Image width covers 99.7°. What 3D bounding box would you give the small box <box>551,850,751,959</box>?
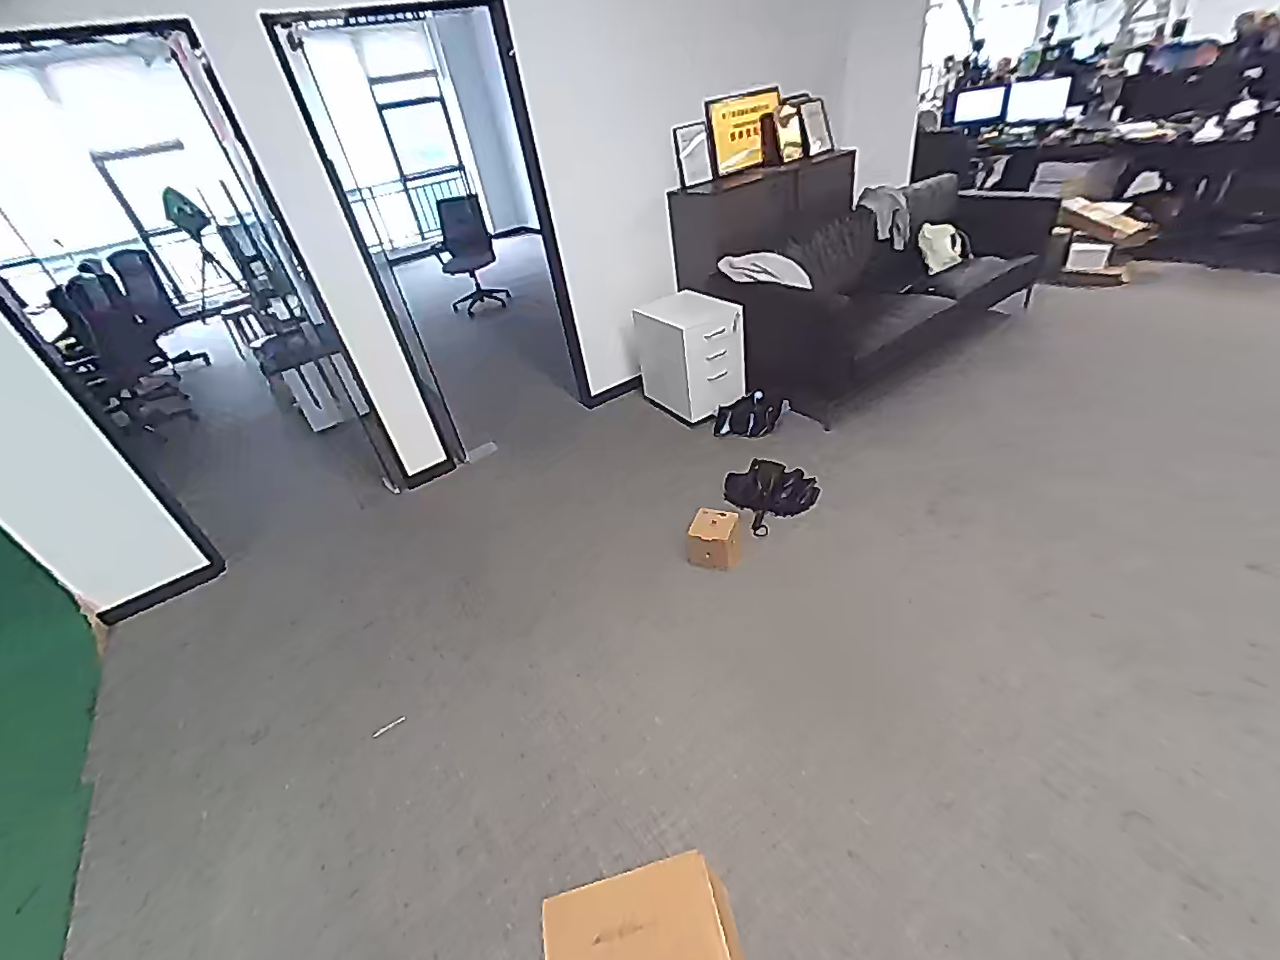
[{"bbox_3d":[0.028,0.501,0.522,0.168,0.176,0.179,-20,41,-1],"label":"small box"}]
